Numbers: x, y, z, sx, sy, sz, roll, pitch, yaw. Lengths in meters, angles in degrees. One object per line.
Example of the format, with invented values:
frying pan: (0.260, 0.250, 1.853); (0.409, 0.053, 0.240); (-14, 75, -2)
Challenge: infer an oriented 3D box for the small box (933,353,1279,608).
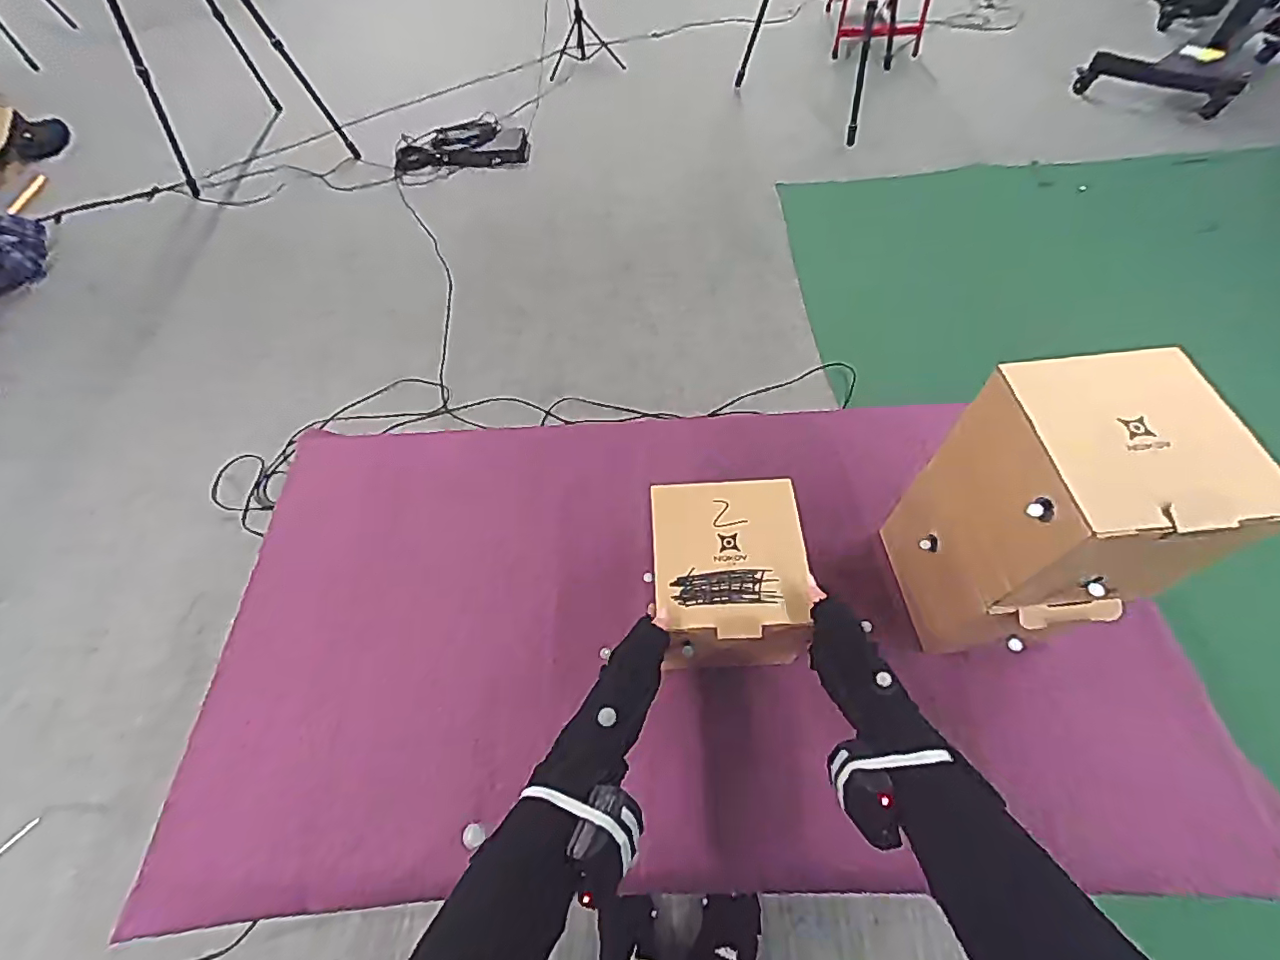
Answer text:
small box: (0.414, 0.006, 0.513); (0.168, 0.176, 0.179); (-5, 59, 0)

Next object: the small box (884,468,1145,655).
small box: (0.420, 0.095, 0.649); (0.168, 0.176, 0.179); (-6, 58, 0)
